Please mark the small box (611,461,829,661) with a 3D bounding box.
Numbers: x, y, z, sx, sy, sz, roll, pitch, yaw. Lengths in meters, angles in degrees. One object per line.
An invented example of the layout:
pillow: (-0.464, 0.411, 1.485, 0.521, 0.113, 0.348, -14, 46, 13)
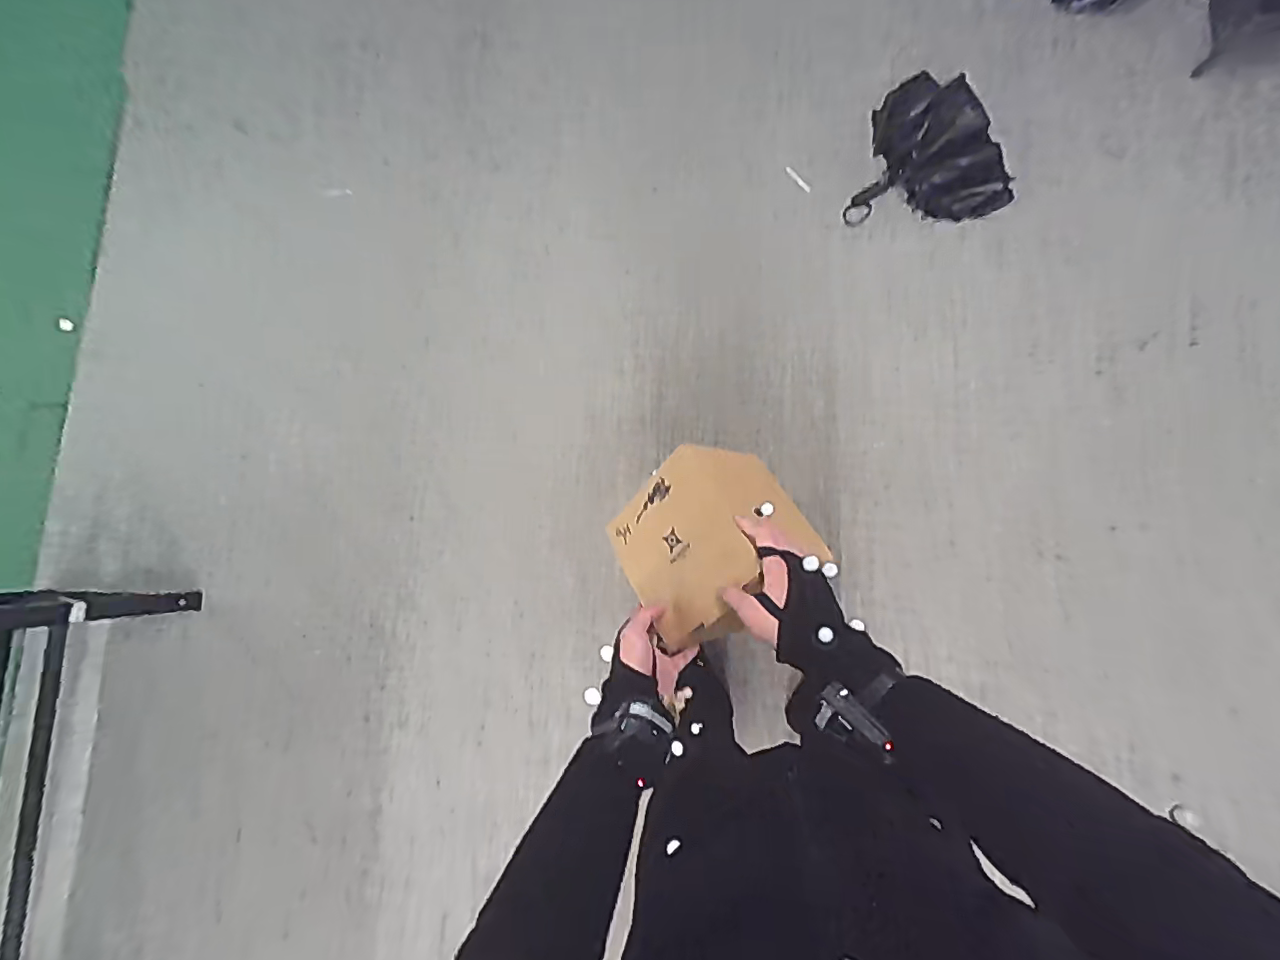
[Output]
small box: (0.102, 0.095, 0.680, 0.168, 0.176, 0.179, -48, 58, 28)
